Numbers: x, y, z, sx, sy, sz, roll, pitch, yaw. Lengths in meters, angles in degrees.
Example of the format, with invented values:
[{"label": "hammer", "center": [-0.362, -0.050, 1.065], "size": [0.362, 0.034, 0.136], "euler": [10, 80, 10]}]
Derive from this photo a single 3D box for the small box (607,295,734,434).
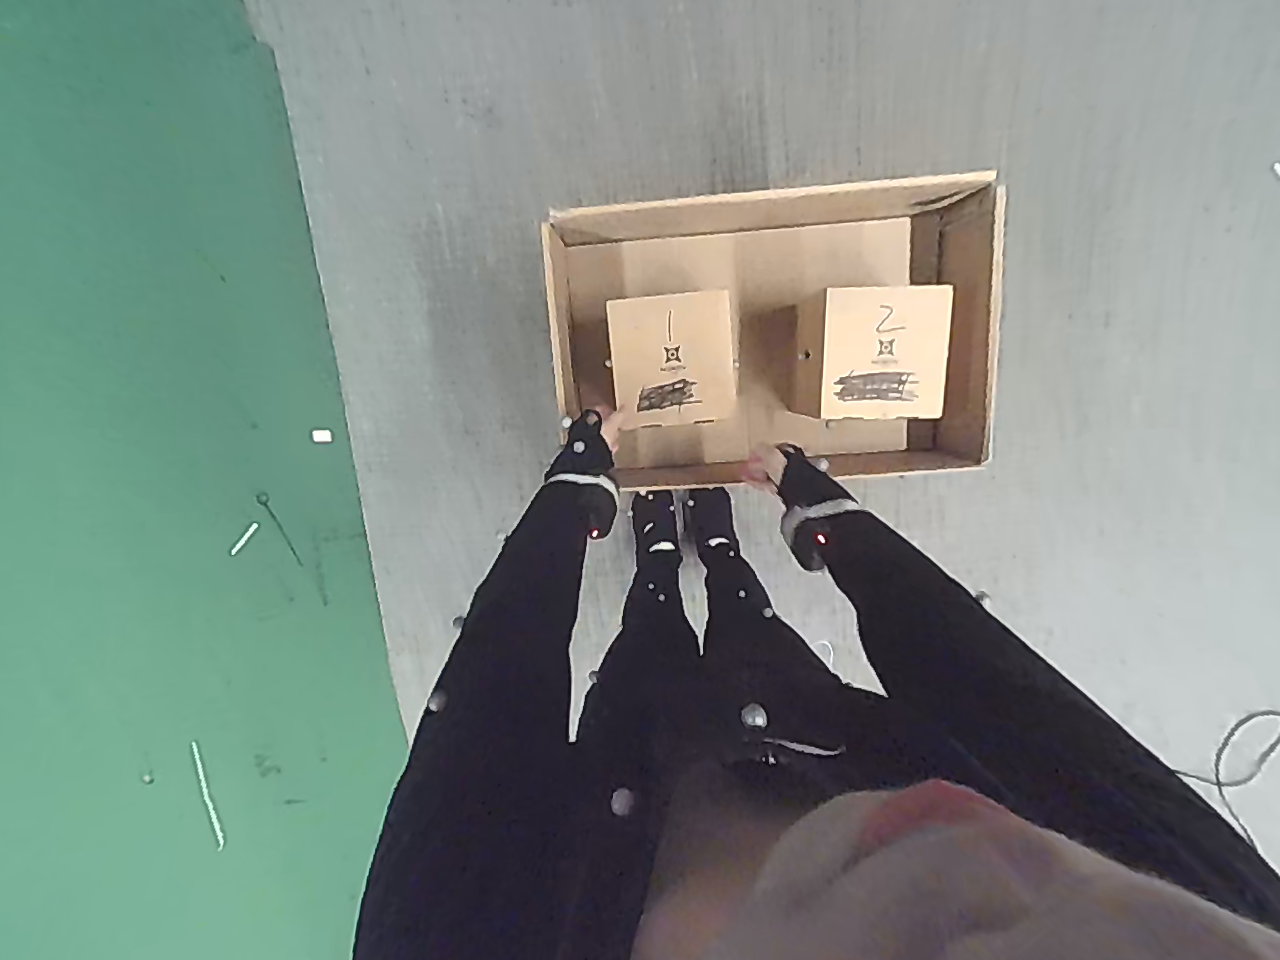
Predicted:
[{"label": "small box", "center": [0.048, -0.170, 0.814], "size": [0.168, 0.176, 0.179], "euler": [-5, 100, 3]}]
